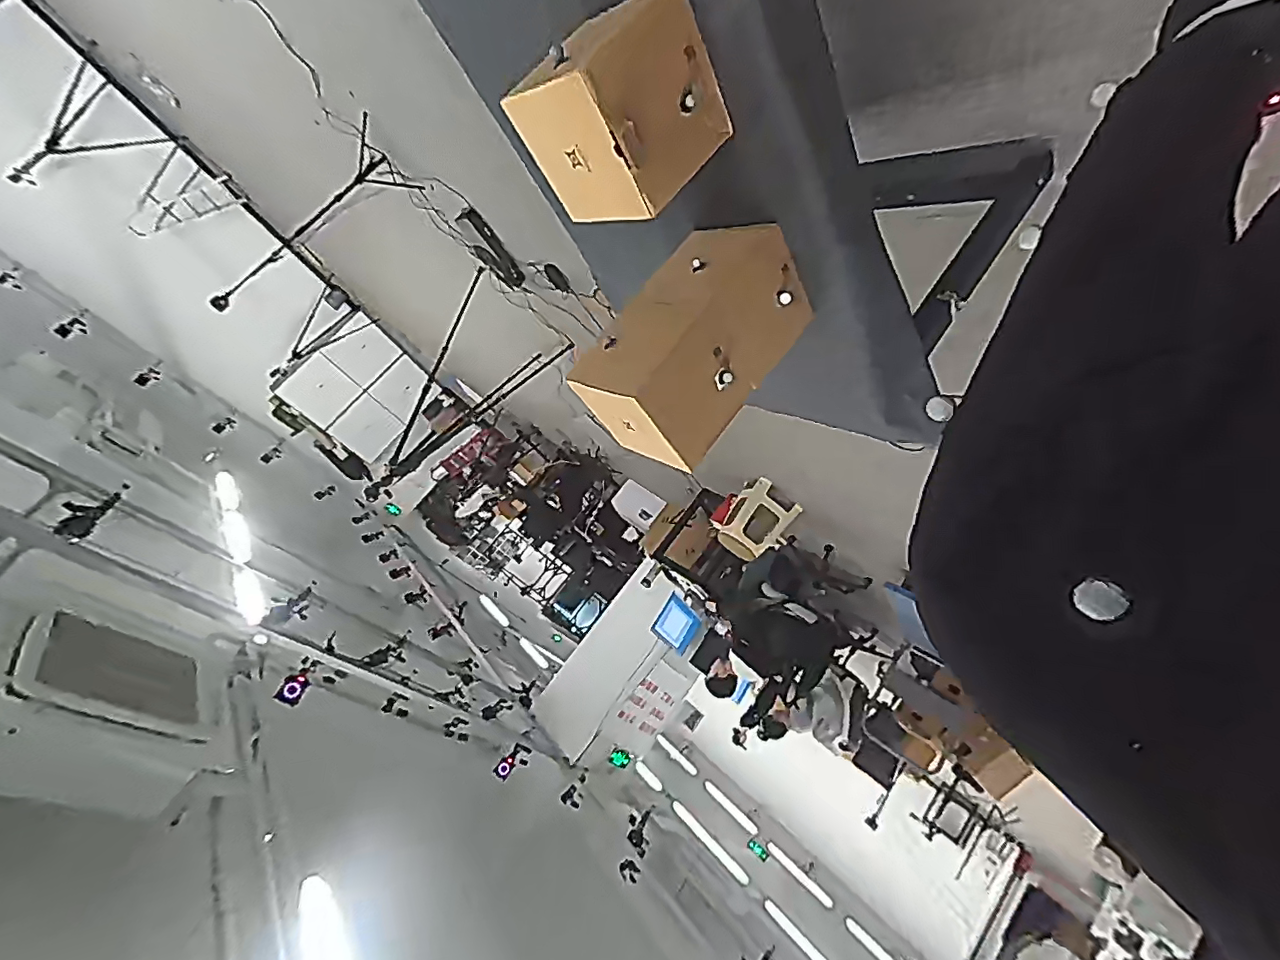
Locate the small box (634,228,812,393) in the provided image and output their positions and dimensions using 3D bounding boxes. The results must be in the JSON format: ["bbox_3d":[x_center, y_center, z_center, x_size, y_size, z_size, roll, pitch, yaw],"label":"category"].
[{"bbox_3d":[0.131,-0.263,0.838,0.179,0.176,0.168,23,160,48],"label":"small box"}]

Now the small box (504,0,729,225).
[{"bbox_3d":[-0.024,-0.440,0.663,0.179,0.176,0.168,25,161,45],"label":"small box"}]

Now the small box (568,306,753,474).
[{"bbox_3d":[0.033,-0.139,0.802,0.179,0.176,0.168,22,161,48],"label":"small box"}]
